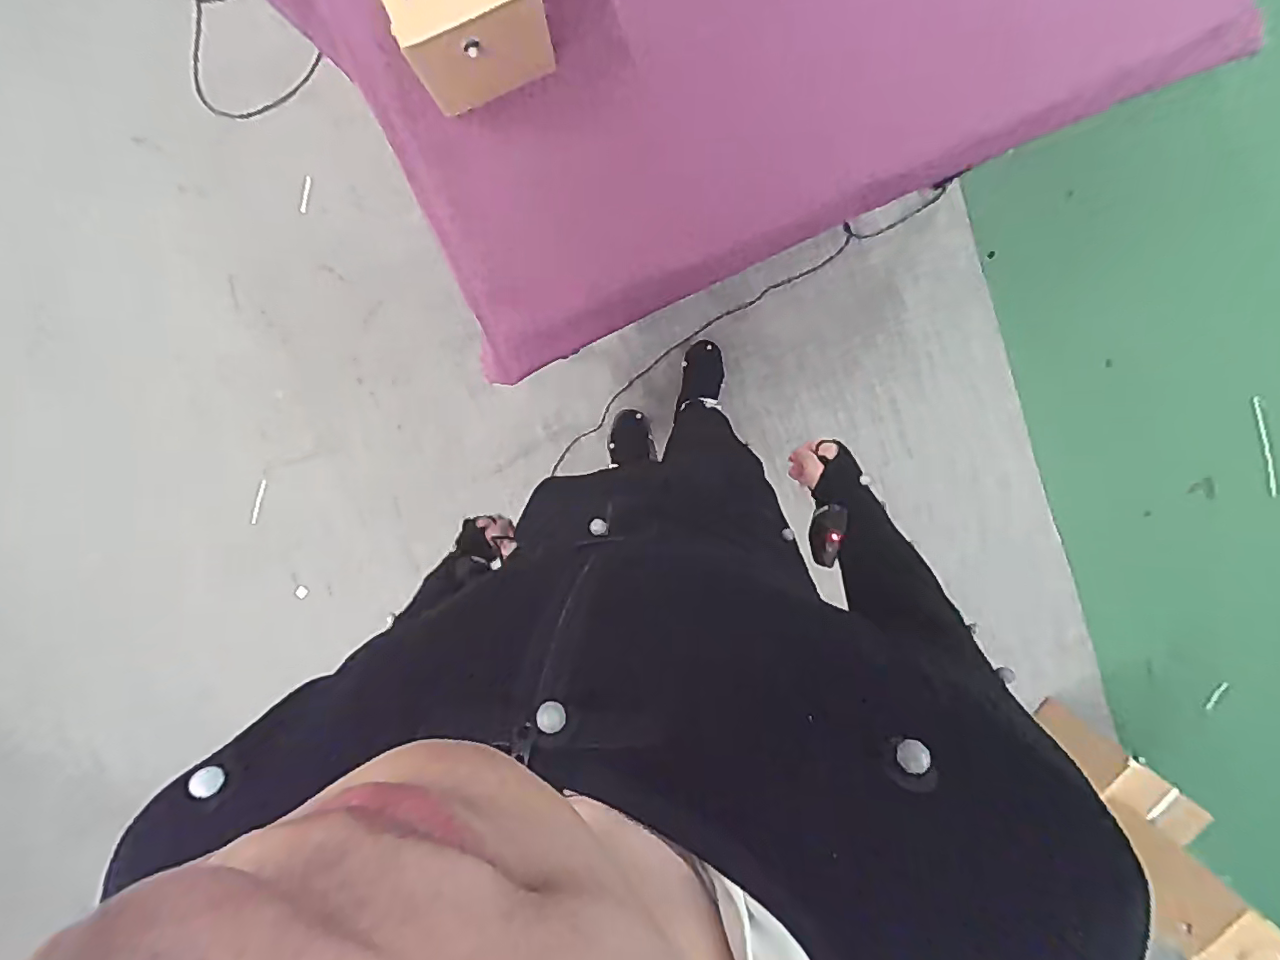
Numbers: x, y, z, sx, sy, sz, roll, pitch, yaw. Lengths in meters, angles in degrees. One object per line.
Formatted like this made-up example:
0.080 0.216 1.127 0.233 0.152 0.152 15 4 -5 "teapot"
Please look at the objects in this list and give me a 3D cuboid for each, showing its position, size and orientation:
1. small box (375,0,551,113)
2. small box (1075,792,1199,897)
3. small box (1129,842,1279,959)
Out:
-0.230 -0.610 0.681 0.179 0.176 0.168 -23 101 2 "small box"
1.303 0.976 1.420 0.168 0.176 0.179 35 97 -7 "small box"
1.305 1.004 1.258 0.168 0.176 0.179 37 98 -8 "small box"
